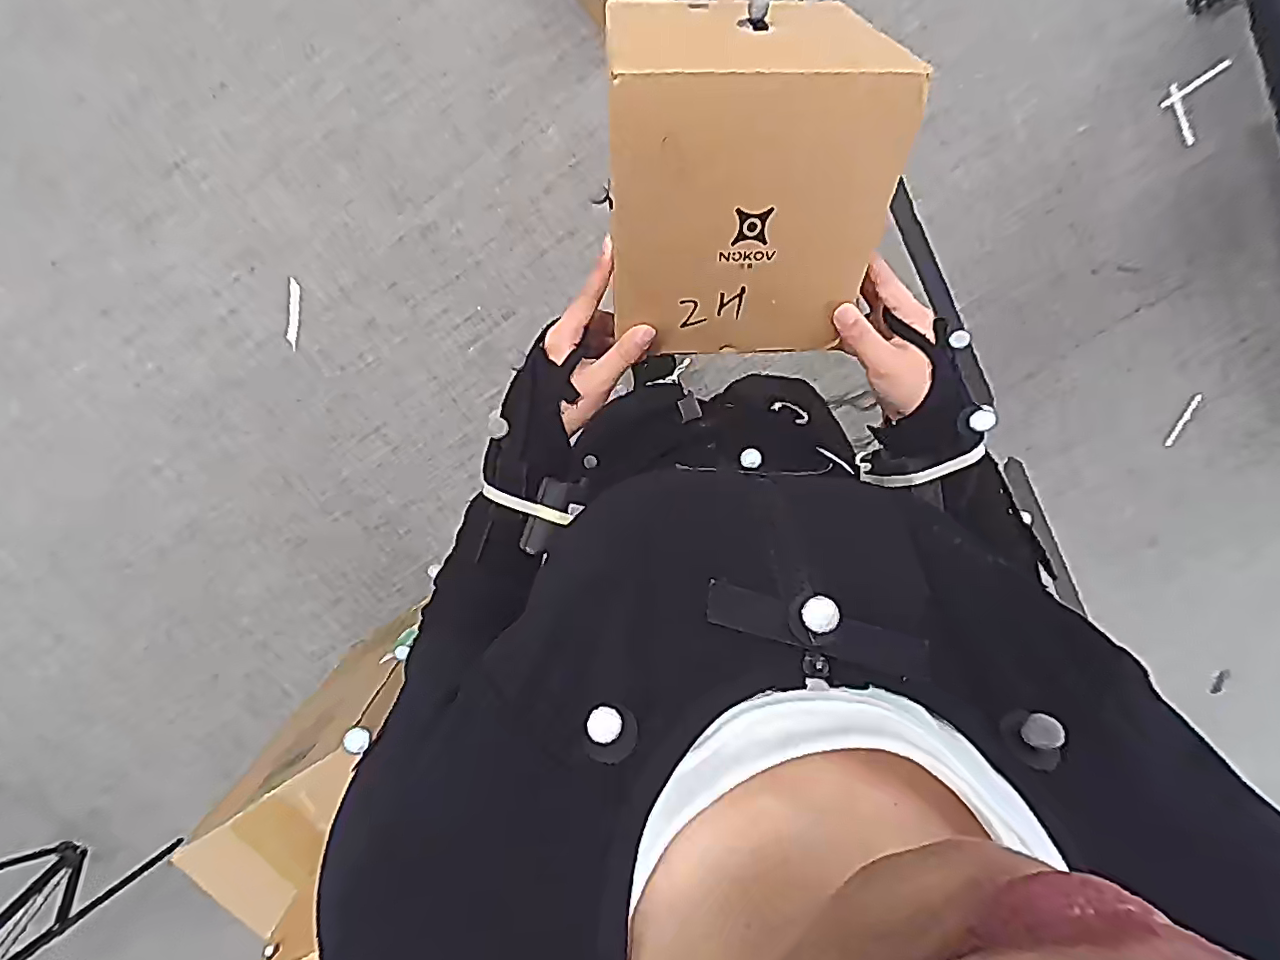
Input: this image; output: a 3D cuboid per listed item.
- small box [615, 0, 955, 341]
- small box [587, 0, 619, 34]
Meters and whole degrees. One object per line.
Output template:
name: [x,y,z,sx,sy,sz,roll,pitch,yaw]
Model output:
small box: [0.067,-0.218,0.374,0.168,0.176,0.179,-1,140,-3]
small box: [-0.043,-0.998,1.004,0.168,0.176,0.179,-32,105,7]
